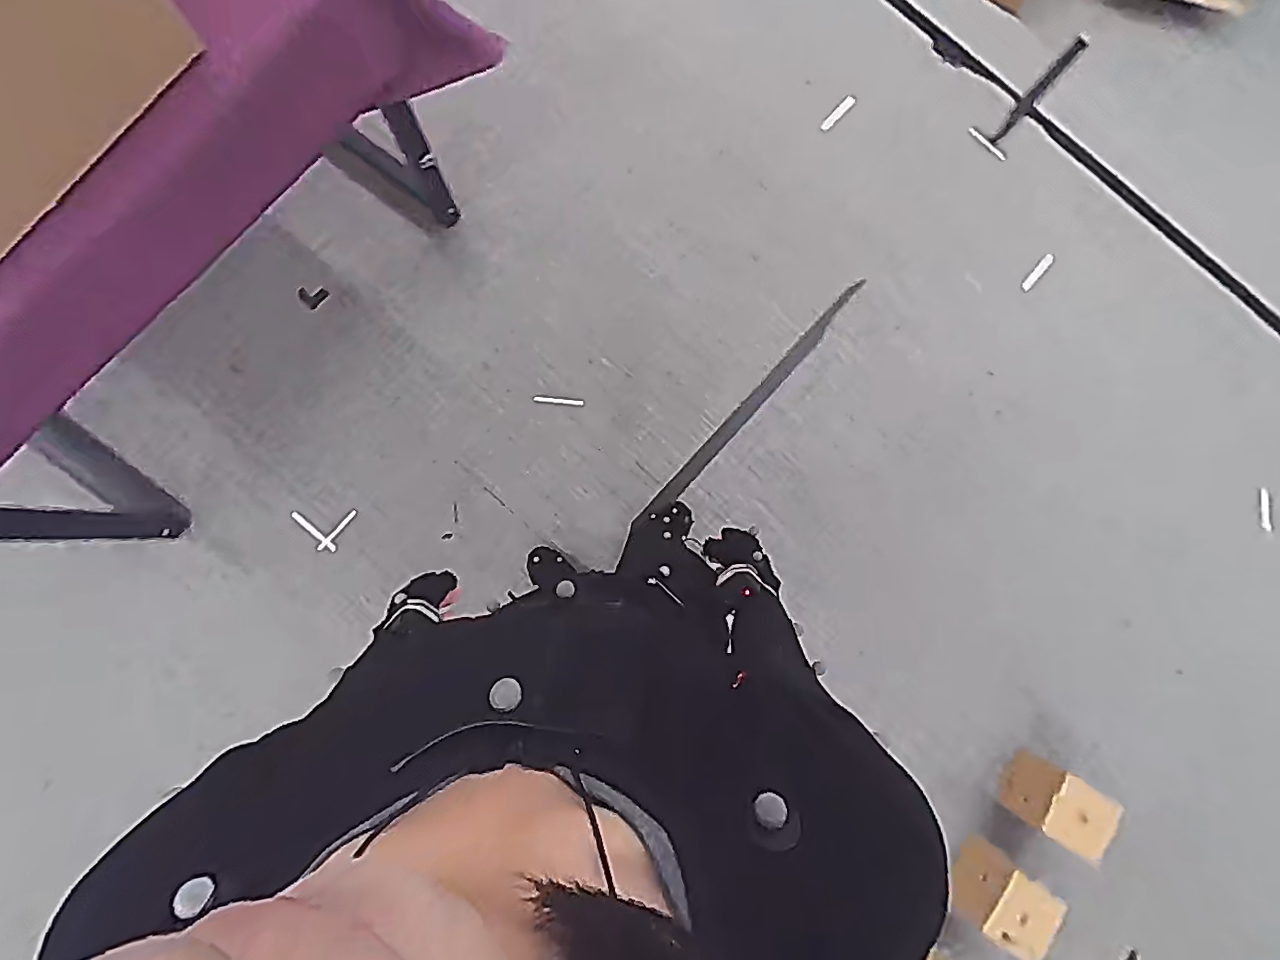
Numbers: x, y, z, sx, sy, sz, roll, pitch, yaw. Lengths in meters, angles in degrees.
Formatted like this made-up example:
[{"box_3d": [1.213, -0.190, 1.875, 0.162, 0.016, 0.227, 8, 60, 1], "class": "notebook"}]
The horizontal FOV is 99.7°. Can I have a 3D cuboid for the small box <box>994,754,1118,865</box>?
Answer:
[{"box_3d": [1.112, 0.875, 1.461, 0.179, 0.176, 0.168, 32, 83, -1], "class": "small box"}]

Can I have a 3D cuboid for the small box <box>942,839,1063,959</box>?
[{"box_3d": [0.943, 1.102, 1.423, 0.168, 0.176, 0.179, 35, 81, 0], "class": "small box"}]
